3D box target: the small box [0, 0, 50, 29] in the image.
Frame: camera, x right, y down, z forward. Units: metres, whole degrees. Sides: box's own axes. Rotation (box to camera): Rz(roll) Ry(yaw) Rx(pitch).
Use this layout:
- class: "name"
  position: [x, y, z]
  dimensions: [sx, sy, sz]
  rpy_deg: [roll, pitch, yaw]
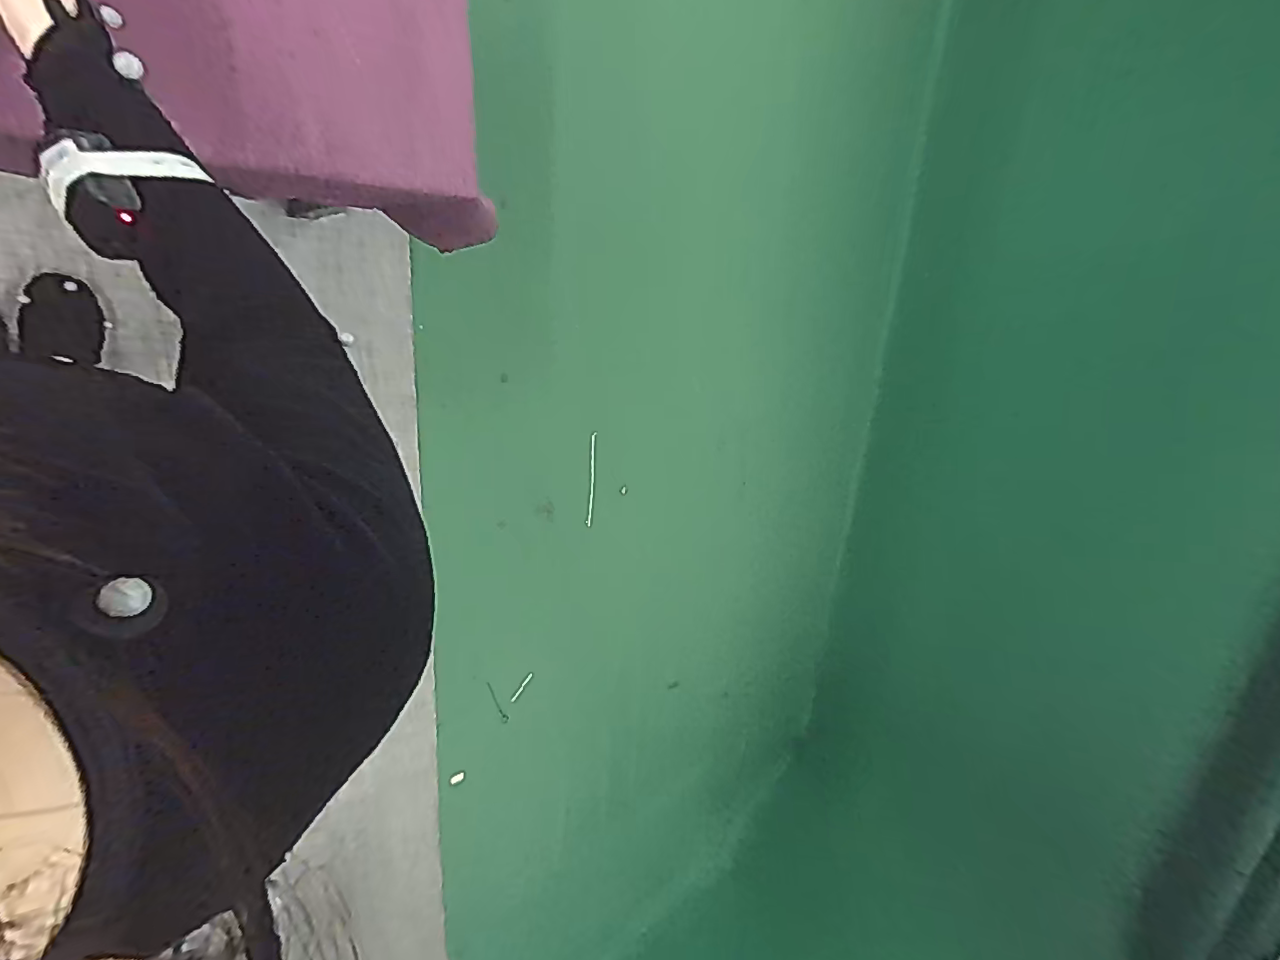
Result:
- class: "small box"
  position: [-0.515, -0.419, 0.331]
  dimensions: [0.179, 0.176, 0.168]
  rpy_deg: [-12, 116, -40]
